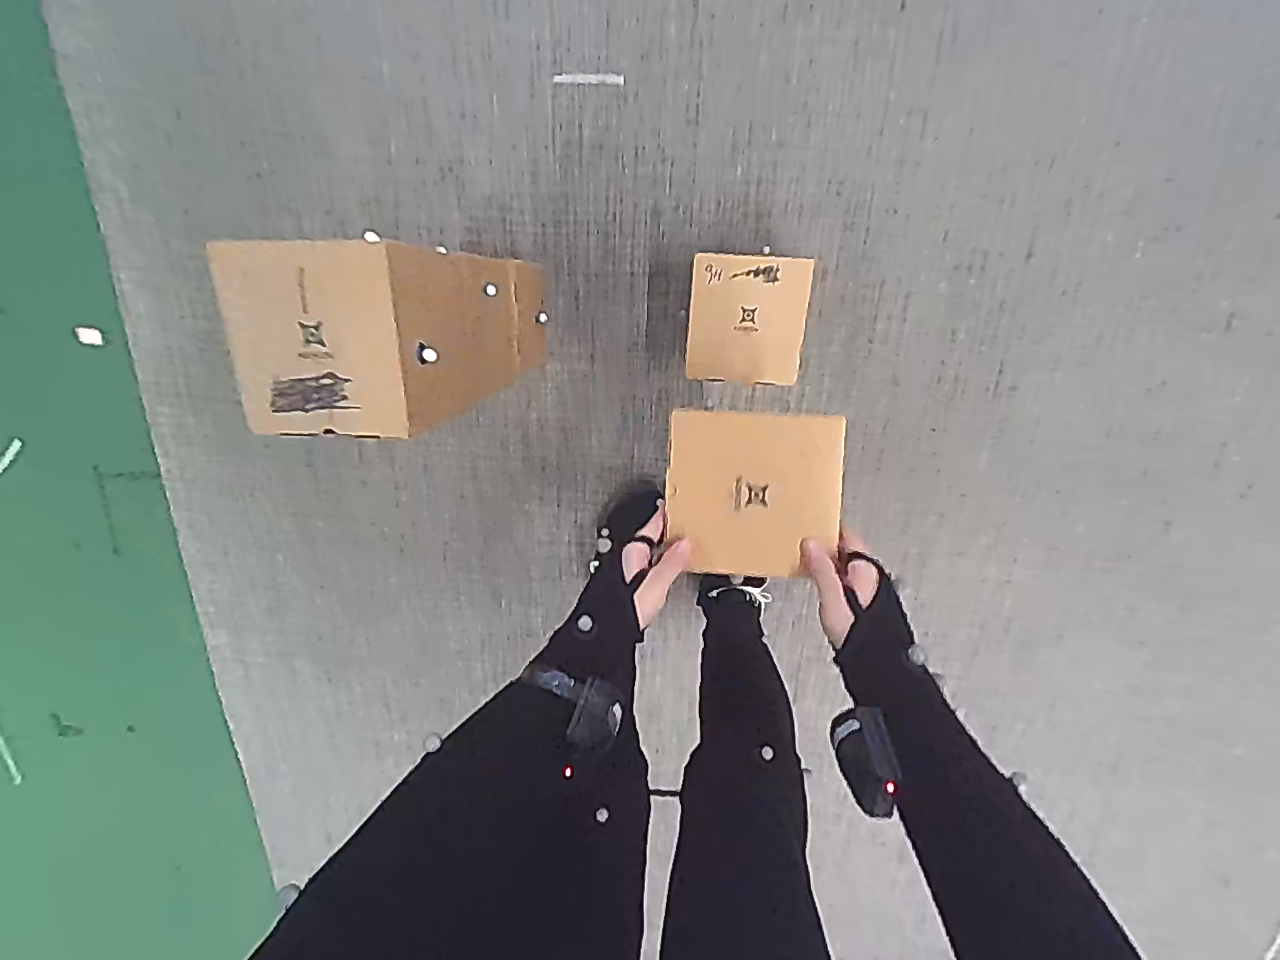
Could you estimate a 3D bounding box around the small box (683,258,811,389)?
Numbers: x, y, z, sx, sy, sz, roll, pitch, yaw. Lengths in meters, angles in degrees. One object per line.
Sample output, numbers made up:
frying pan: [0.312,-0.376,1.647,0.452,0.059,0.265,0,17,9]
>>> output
small box: [0.159,-0.250,0.855,0.168,0.176,0.179,4,109,3]

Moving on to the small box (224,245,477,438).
small box: [-0.287,-0.150,0.581,0.168,0.176,0.179,1,107,5]

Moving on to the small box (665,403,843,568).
small box: [0.126,0.003,0.637,0.179,0.176,0.168,2,90,8]

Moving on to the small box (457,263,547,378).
small box: [-0.258,-0.263,0.889,0.179,0.176,0.168,3,108,3]
